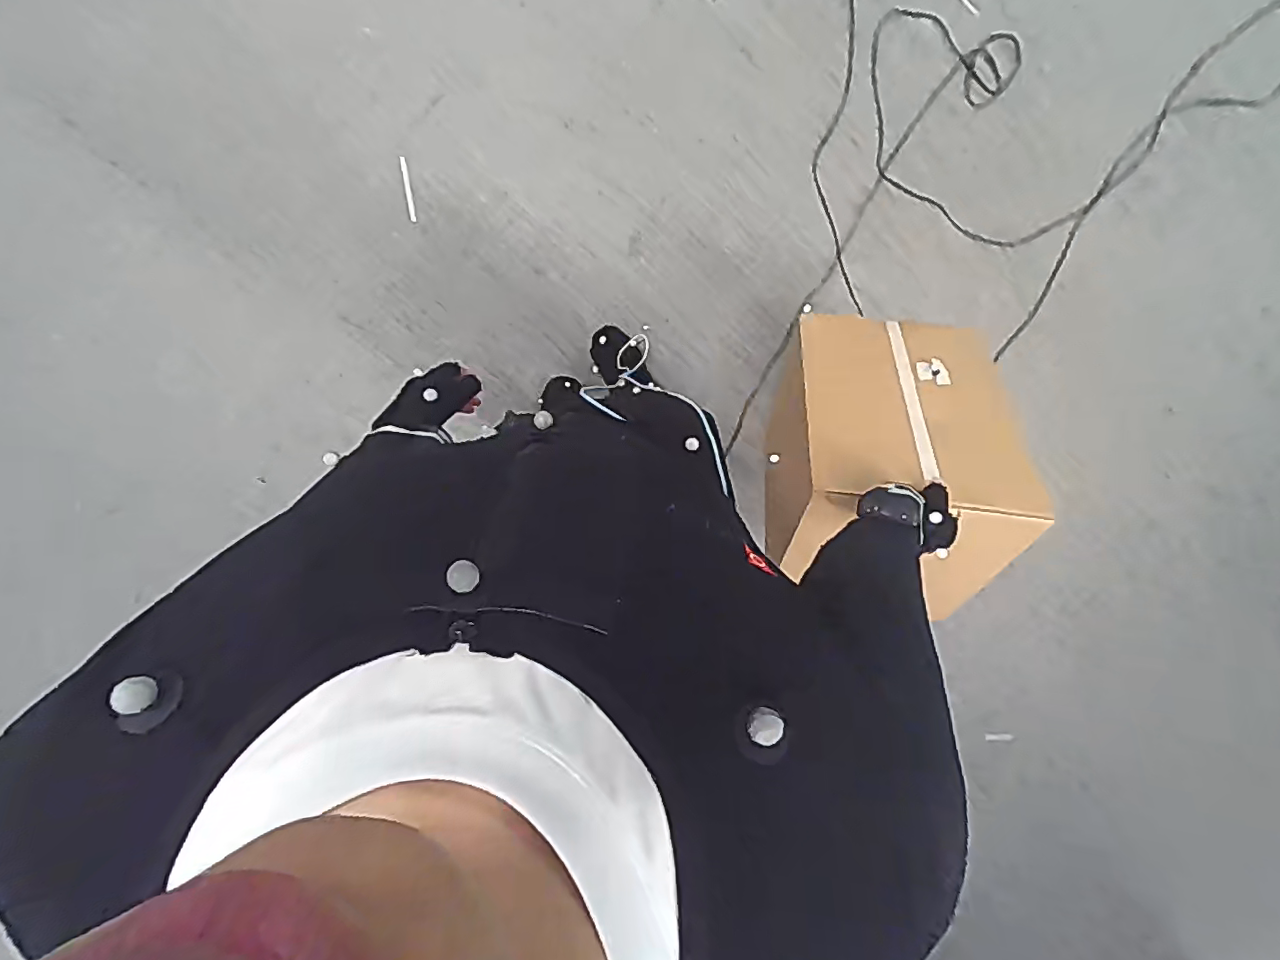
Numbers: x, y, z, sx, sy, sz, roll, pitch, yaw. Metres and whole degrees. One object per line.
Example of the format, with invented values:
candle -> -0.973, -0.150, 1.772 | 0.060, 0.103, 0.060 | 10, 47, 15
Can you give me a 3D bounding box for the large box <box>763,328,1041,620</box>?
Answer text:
large box -> 0.403, -0.013, 0.962 | 0.320, 0.408, 0.320 | 8, 140, 3
